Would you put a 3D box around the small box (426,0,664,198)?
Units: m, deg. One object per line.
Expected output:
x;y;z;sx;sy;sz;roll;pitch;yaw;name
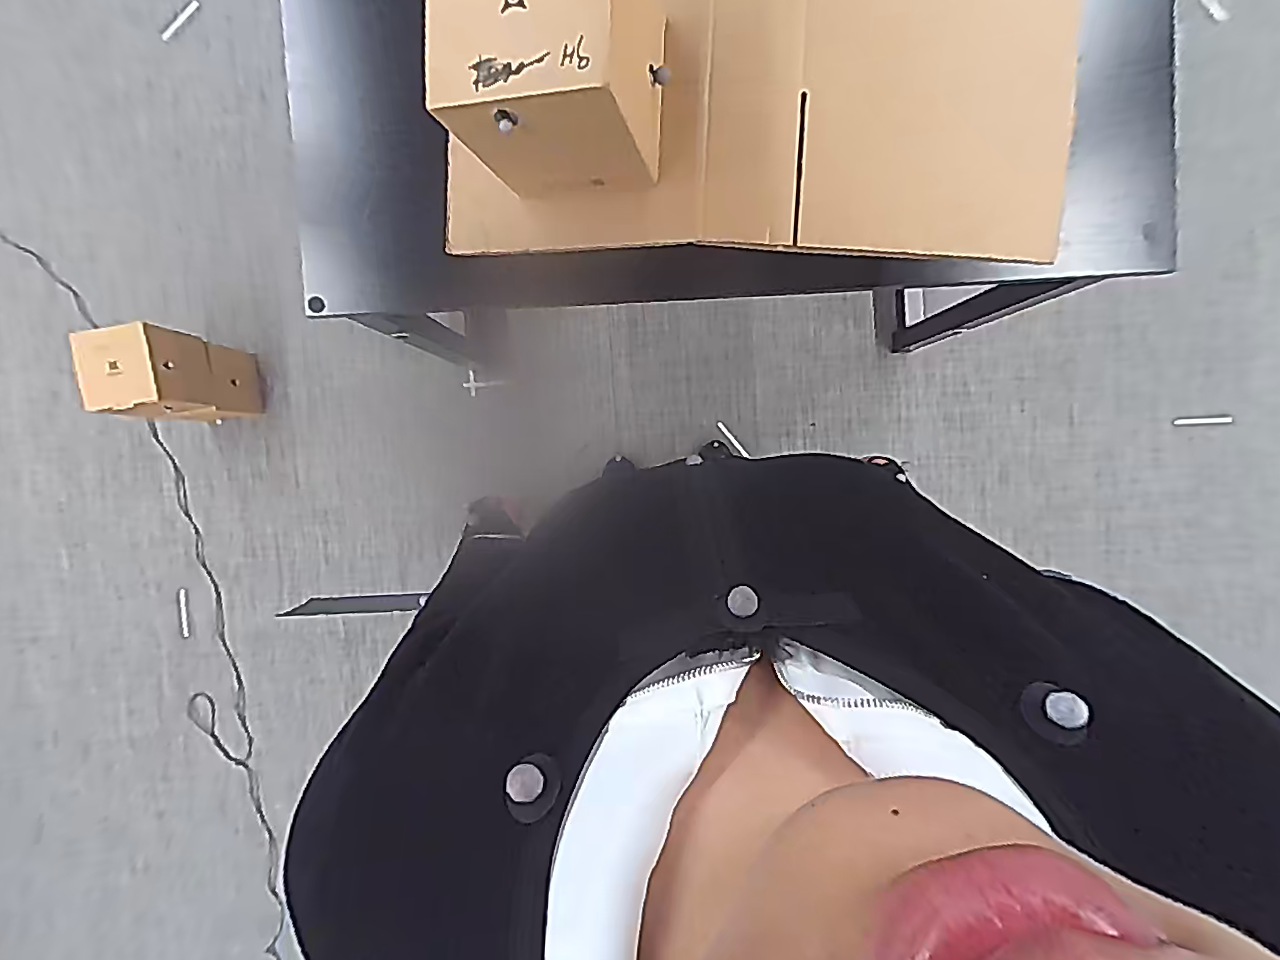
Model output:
-0.076;-0.397;0.510;0.168;0.176;0.179;3;93;15;small box

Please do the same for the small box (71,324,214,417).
-1.136;-0.244;1.252;0.168;0.176;0.179;-10;92;0;small box

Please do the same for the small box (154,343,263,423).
-1.133;-0.247;1.414;0.168;0.176;0.179;-7;94;1;small box
